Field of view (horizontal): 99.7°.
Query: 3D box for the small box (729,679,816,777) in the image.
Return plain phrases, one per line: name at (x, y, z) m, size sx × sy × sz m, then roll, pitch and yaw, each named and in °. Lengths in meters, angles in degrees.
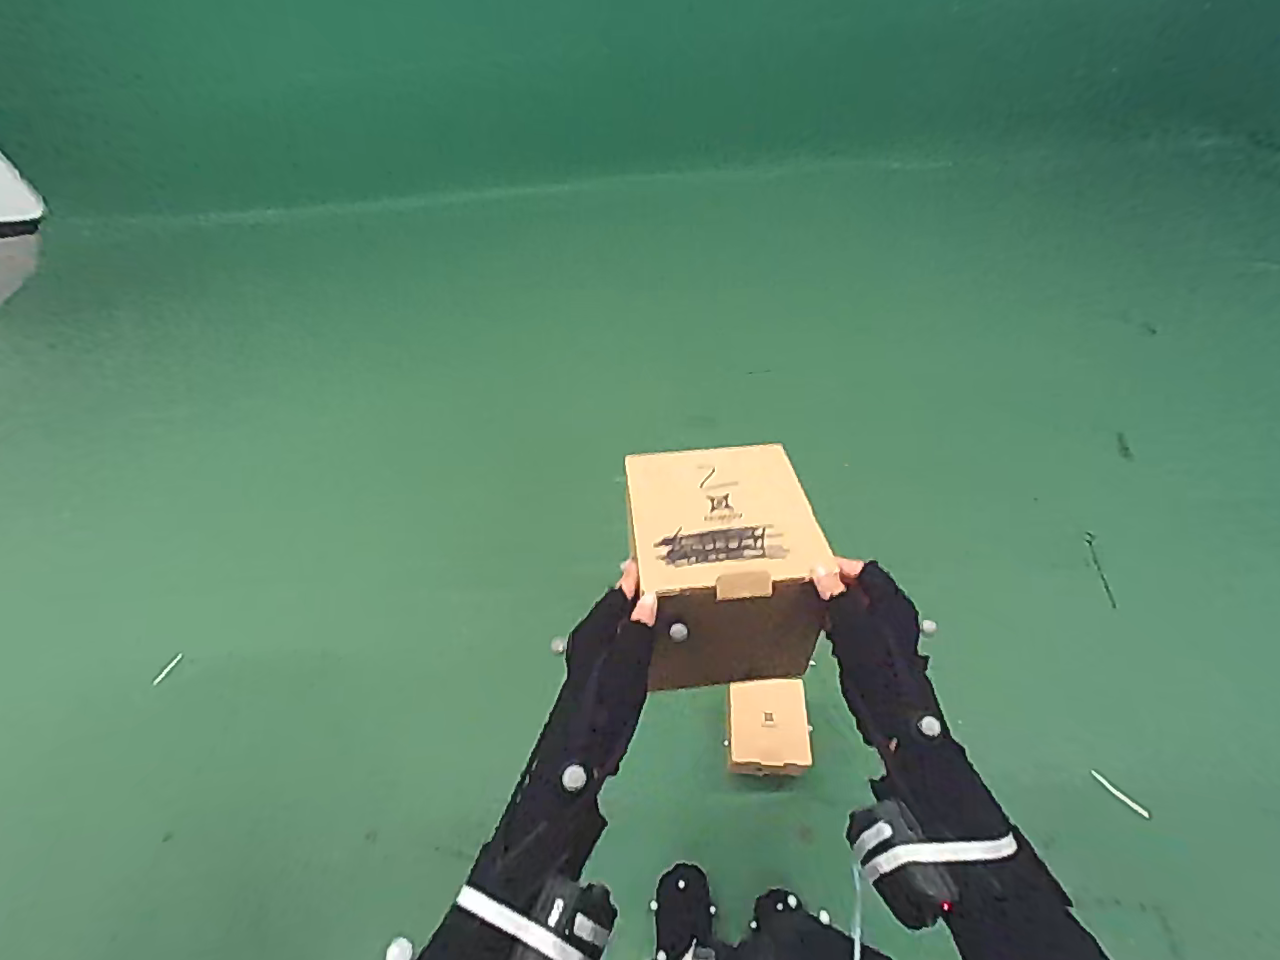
small box at (0.295, 0.570, 1.241) m, size 0.168 × 0.176 × 0.179 m, roll 0°, pitch 56°, yaw 5°
